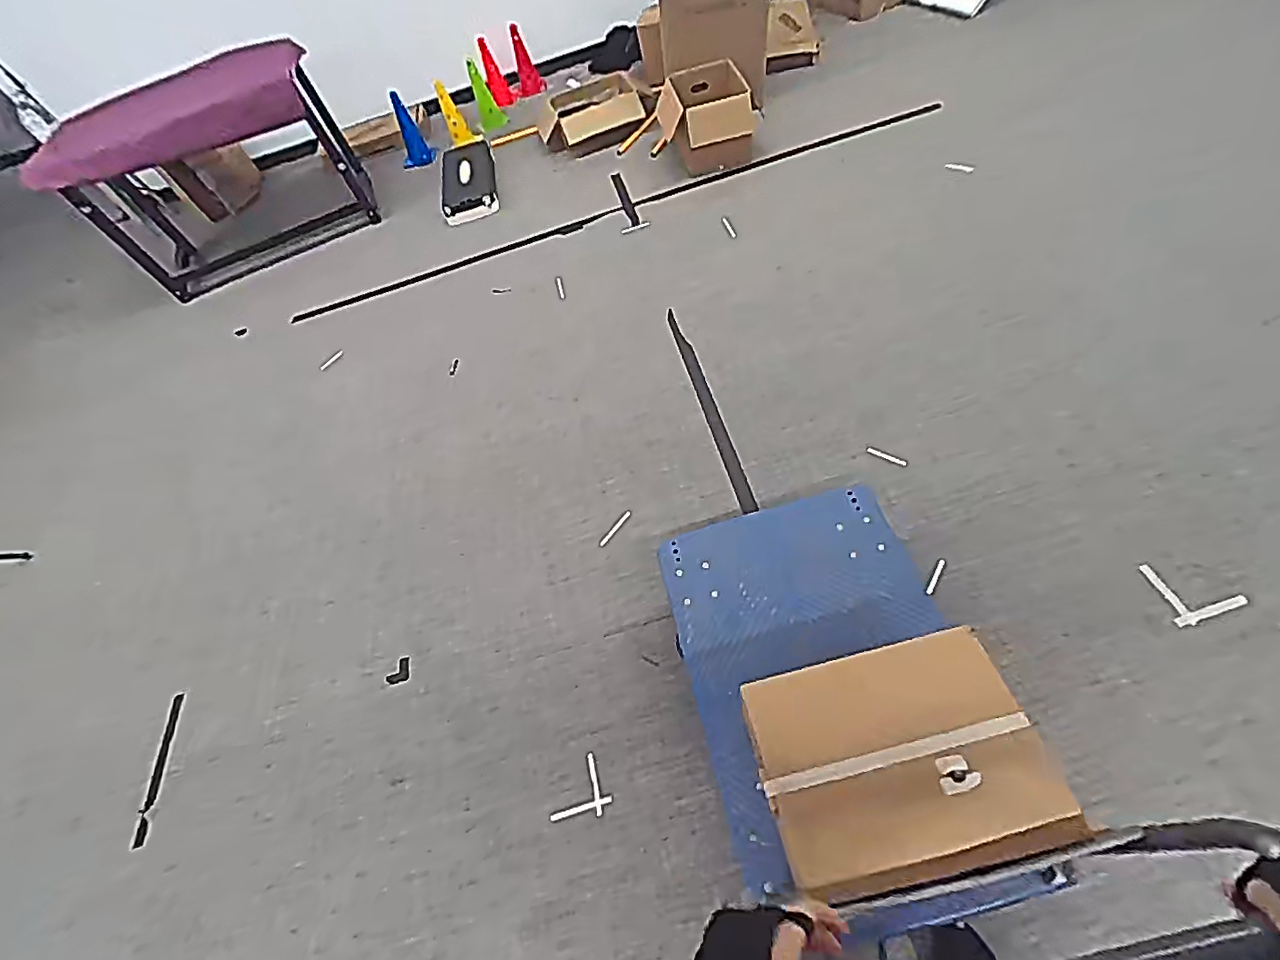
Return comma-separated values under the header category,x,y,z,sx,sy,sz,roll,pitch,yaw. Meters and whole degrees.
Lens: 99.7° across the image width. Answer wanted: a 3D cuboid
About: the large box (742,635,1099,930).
category,x,y,z,sx,sy,sz,roll,pitch,yaw
large box,0.417,0.515,0.928,0.408,0.320,0.320,-16,55,1
